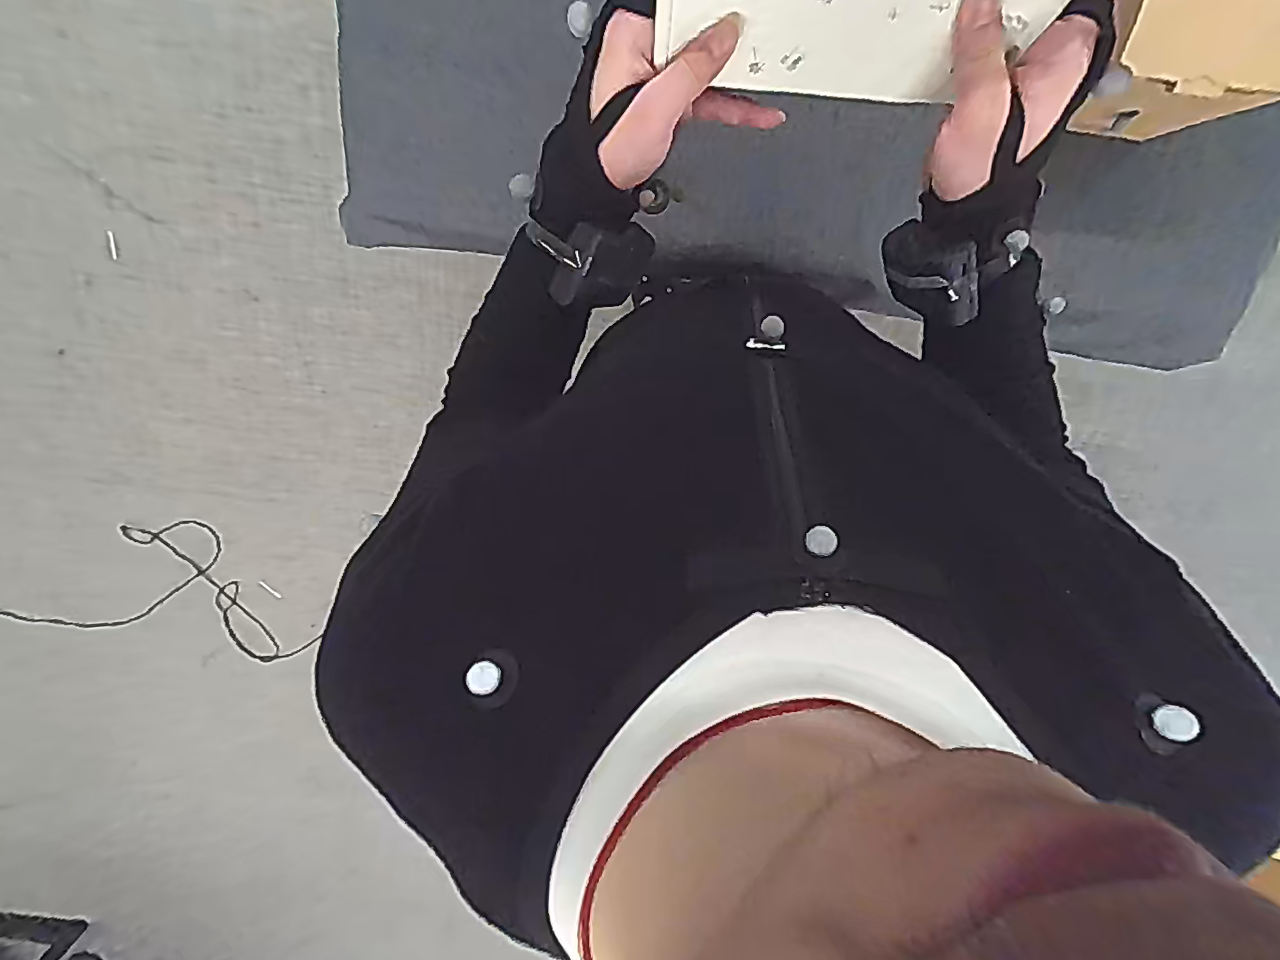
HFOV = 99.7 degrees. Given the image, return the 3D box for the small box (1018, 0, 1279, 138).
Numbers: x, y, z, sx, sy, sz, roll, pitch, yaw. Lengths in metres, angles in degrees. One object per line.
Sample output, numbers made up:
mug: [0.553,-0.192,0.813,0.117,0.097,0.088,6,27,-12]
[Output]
small box: [0.540,-0.476,0.560,0.168,0.176,0.179,8,112,0]
